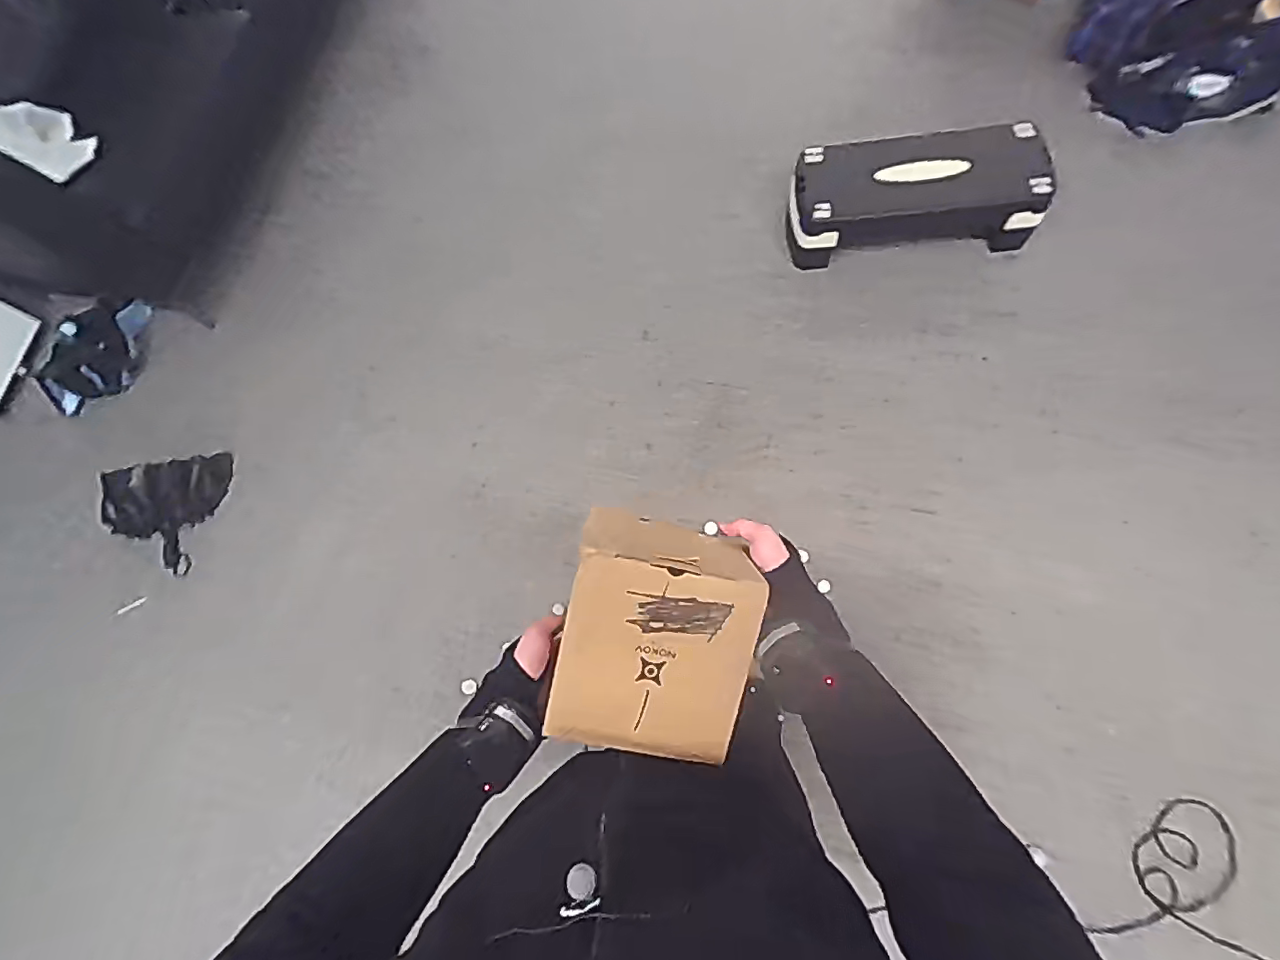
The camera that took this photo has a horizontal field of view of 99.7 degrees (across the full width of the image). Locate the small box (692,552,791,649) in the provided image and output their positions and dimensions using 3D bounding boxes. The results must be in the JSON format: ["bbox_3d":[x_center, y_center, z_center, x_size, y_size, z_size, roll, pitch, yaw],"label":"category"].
[{"bbox_3d":[0.249,0.306,1.343,0.179,0.176,0.168,-34,71,-4],"label":"small box"}]
